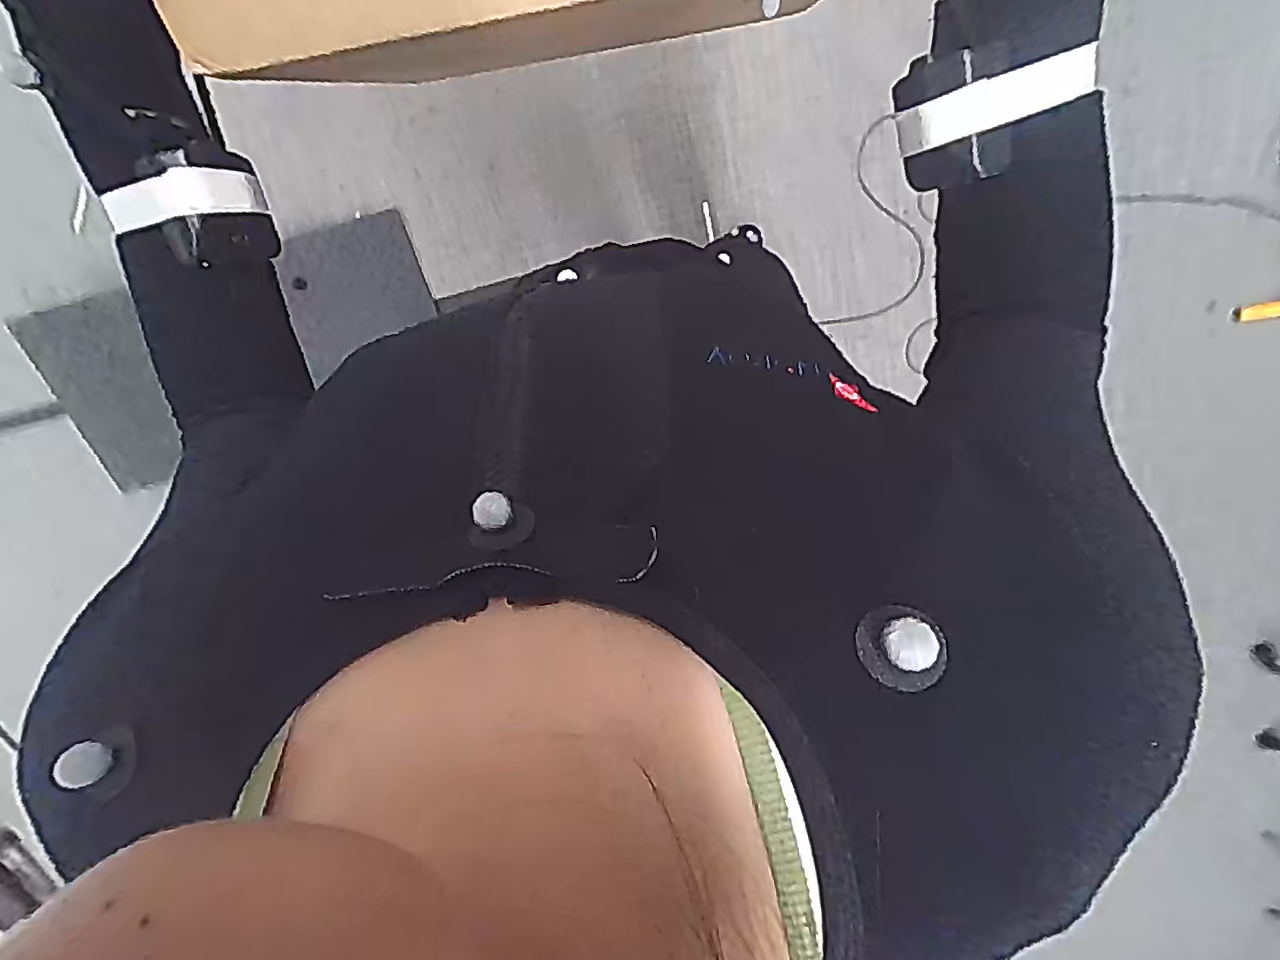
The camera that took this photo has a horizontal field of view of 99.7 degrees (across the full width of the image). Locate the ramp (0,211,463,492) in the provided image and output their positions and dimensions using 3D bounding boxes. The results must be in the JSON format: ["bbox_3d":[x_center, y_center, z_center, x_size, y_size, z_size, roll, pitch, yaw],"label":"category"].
[{"bbox_3d":[-1.026,-0.318,1.412,0.991,0.206,0.509,-13,112,10],"label":"ramp"}]
